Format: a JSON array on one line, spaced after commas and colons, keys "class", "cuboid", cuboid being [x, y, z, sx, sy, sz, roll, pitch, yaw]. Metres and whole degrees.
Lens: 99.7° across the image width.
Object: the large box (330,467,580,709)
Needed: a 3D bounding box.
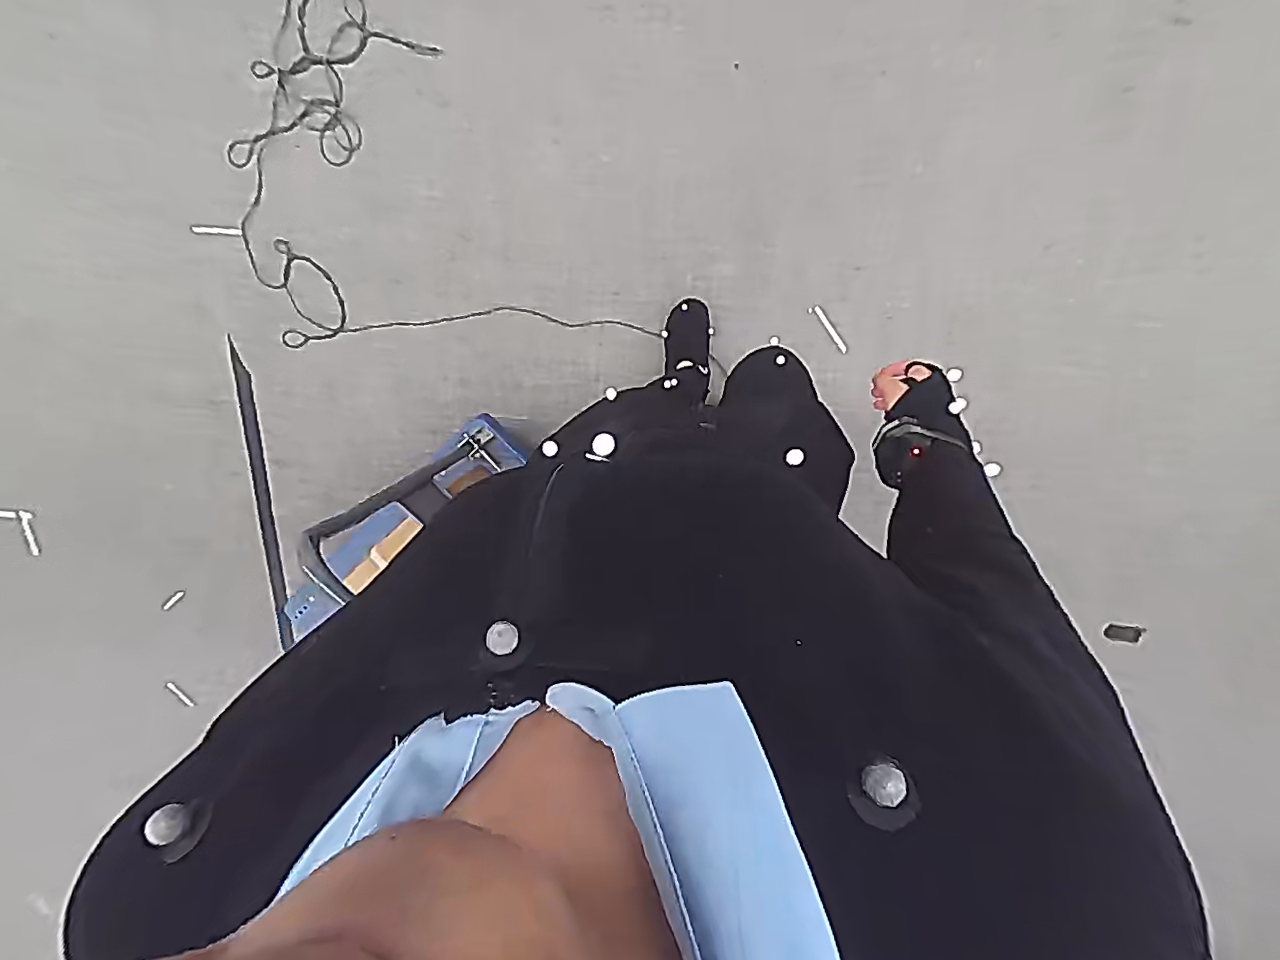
[{"class": "large box", "cuboid": [-0.409, 0.242, 1.291, 0.320, 0.320, 0.408, -40, 99, 15]}]
